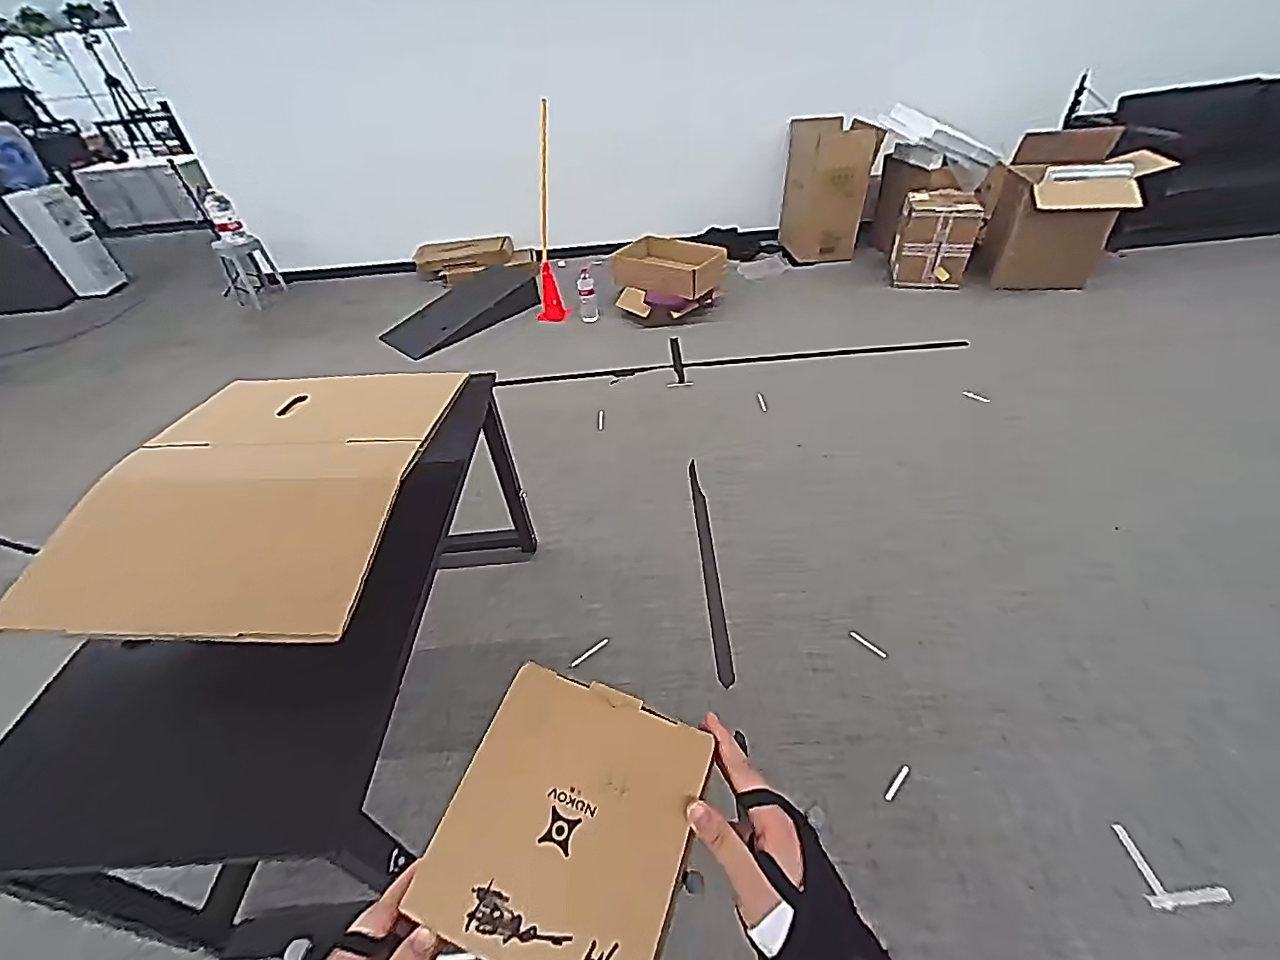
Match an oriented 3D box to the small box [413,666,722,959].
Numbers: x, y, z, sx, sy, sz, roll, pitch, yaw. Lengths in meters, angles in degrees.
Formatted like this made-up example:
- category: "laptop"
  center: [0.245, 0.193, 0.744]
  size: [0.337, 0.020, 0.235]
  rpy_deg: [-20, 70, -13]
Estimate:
- category: "small box"
  center: [-0.039, 0.287, 0.441]
  size: [0.168, 0.176, 0.179]
  rpy_deg: [14, 55, 17]
